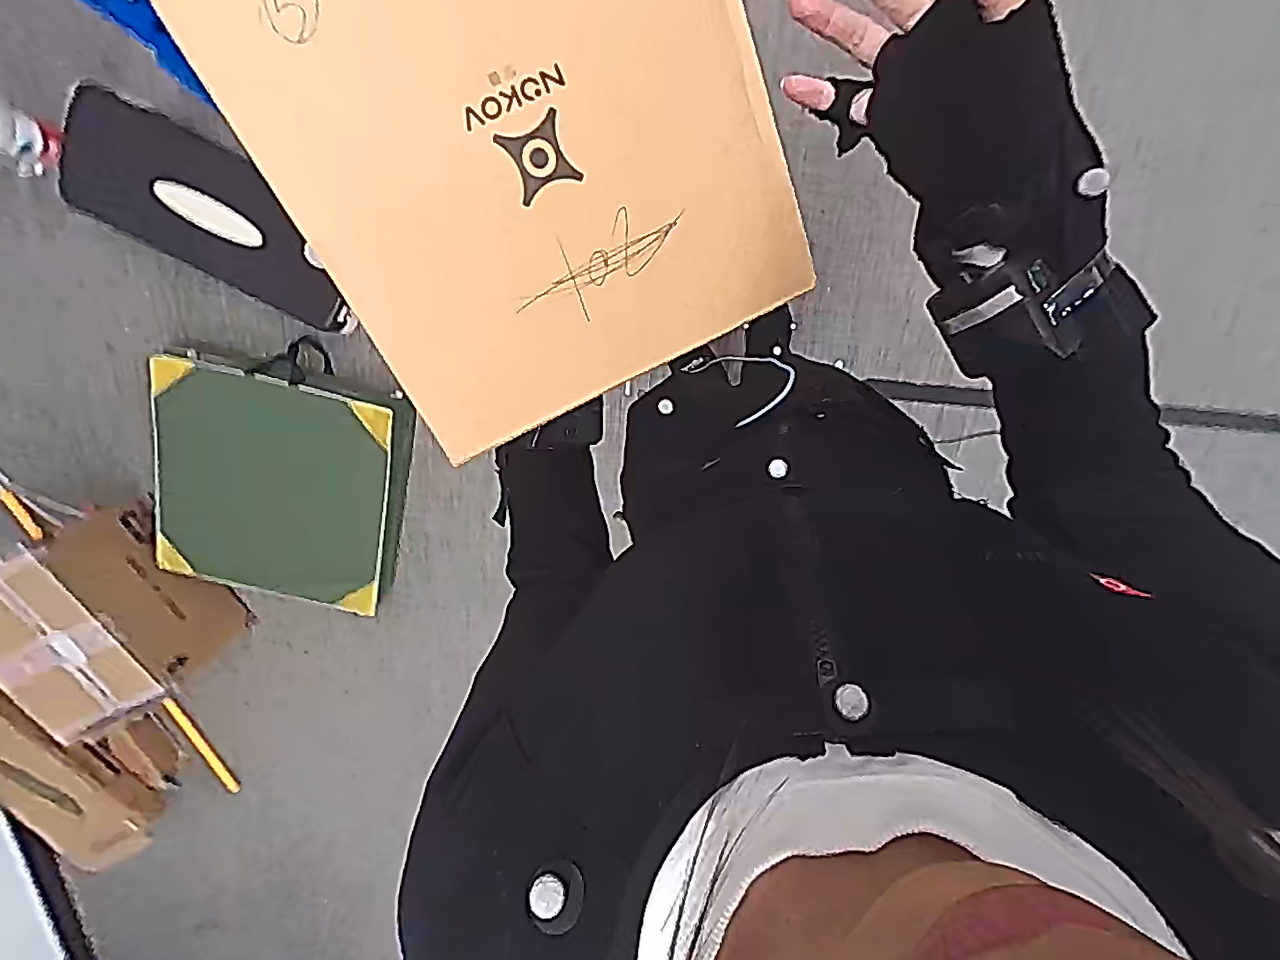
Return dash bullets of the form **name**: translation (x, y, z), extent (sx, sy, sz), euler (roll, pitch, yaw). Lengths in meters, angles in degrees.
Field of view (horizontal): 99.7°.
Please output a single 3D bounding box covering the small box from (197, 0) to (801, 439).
- **small box**: translation (-0.051, -0.149, 0.270), extent (0.168, 0.176, 0.179), euler (-25, 114, 0)
